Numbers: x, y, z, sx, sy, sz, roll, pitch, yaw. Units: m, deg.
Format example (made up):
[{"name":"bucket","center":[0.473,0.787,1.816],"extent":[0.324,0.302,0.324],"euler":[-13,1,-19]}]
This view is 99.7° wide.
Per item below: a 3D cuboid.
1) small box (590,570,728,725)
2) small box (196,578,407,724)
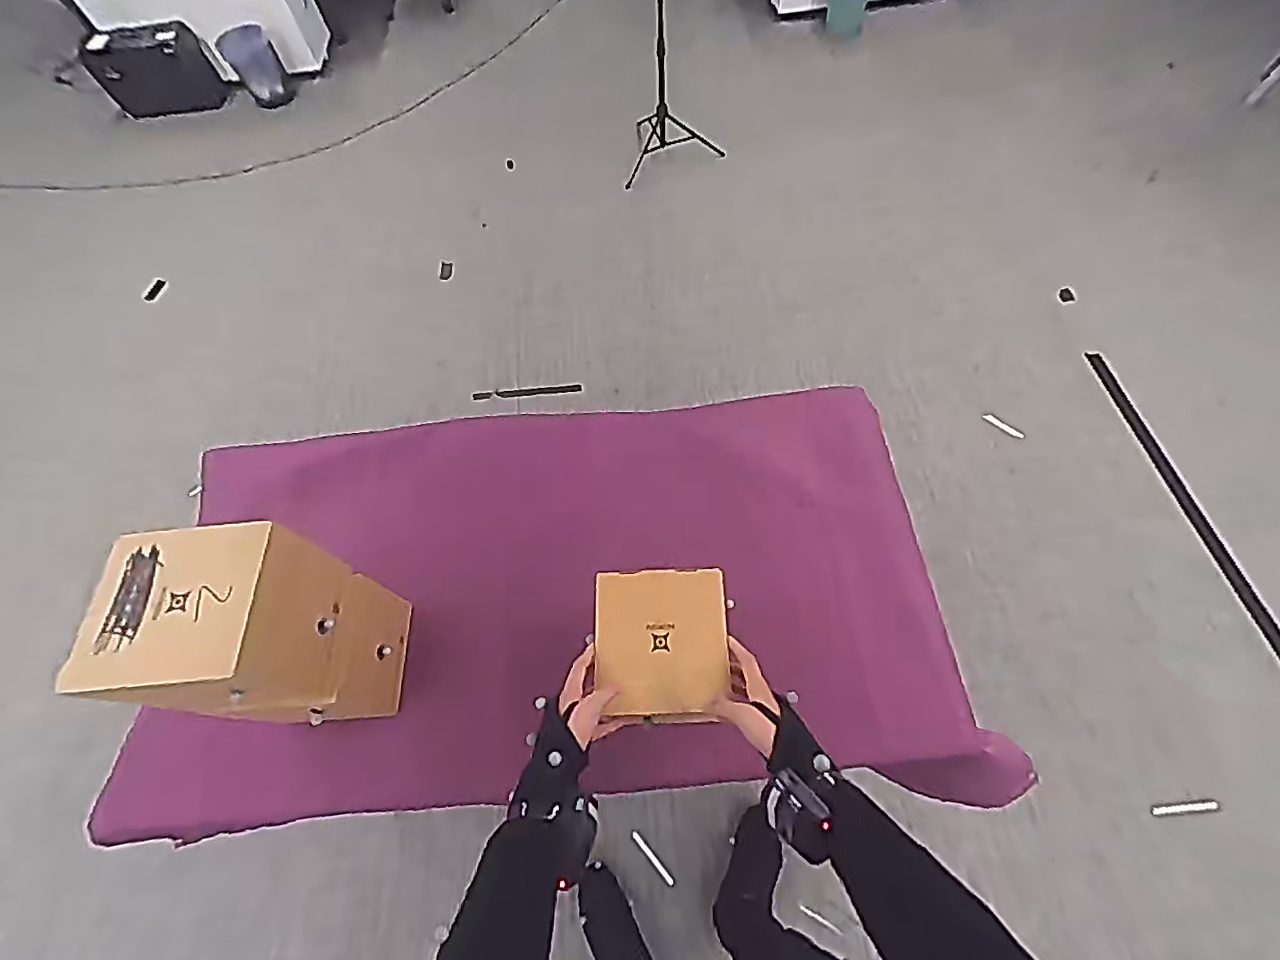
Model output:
[{"name":"small box","center":[0.028,0.234,0.734],"extent":[0.168,0.176,0.179],"euler":[-3,61,3]},{"name":"small box","center":[-0.453,0.244,0.759],"extent":[0.179,0.176,0.168],"euler":[-4,62,1]}]
